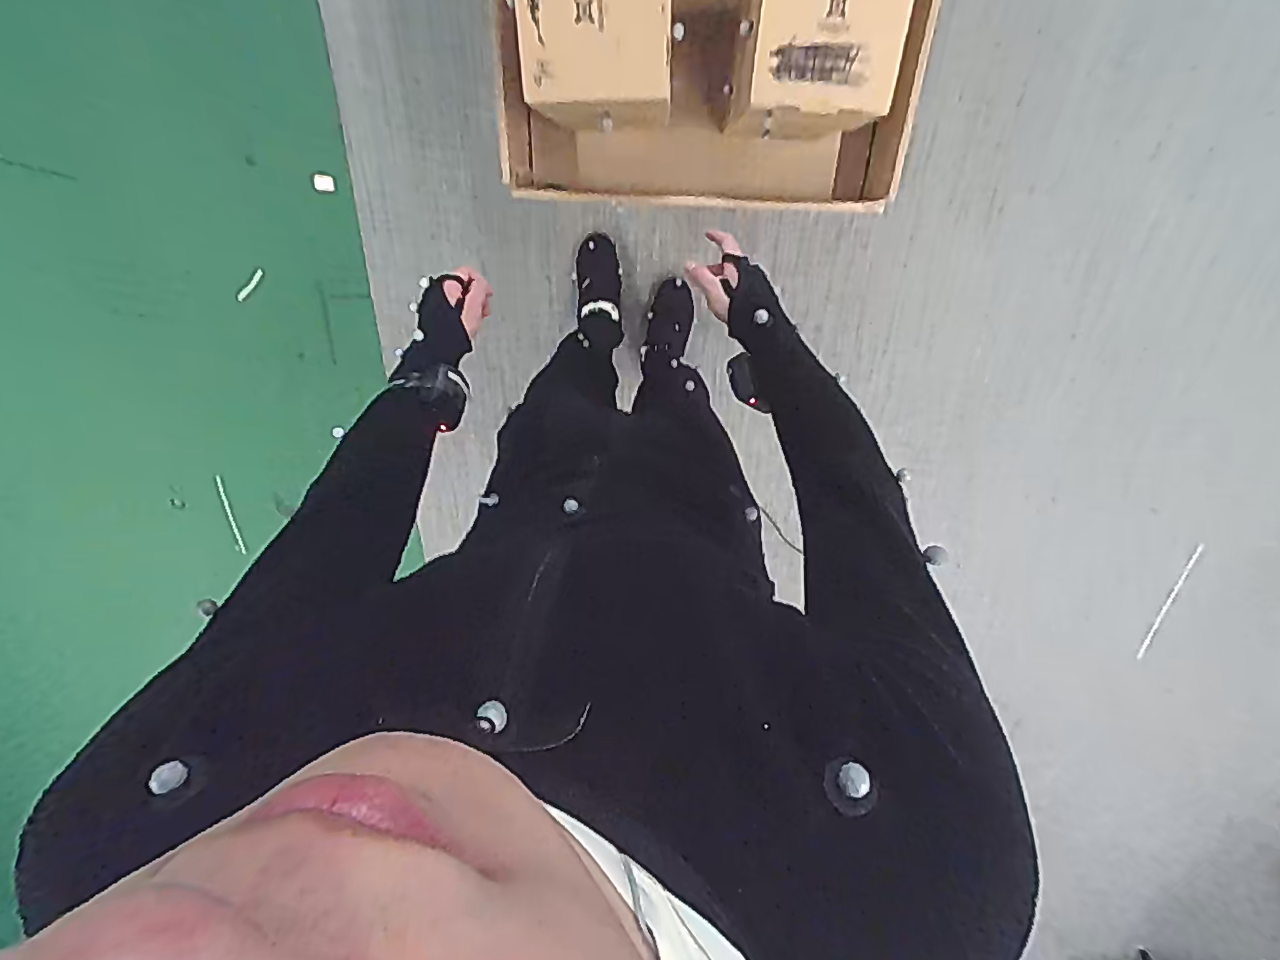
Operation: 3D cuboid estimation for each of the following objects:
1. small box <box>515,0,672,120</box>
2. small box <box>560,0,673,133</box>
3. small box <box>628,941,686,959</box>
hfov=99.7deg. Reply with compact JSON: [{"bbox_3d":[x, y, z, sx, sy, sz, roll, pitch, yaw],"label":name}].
[{"bbox_3d":[-0.050,-0.559,0.673,0.179,0.176,0.168,1,117,2],"label":"small box"},{"bbox_3d":[-0.043,-0.634,0.819,0.179,0.176,0.168,2,117,1],"label":"small box"},{"bbox_3d":[0.046,1.431,1.513,0.168,0.176,0.179,1,118,4],"label":"small box"}]
